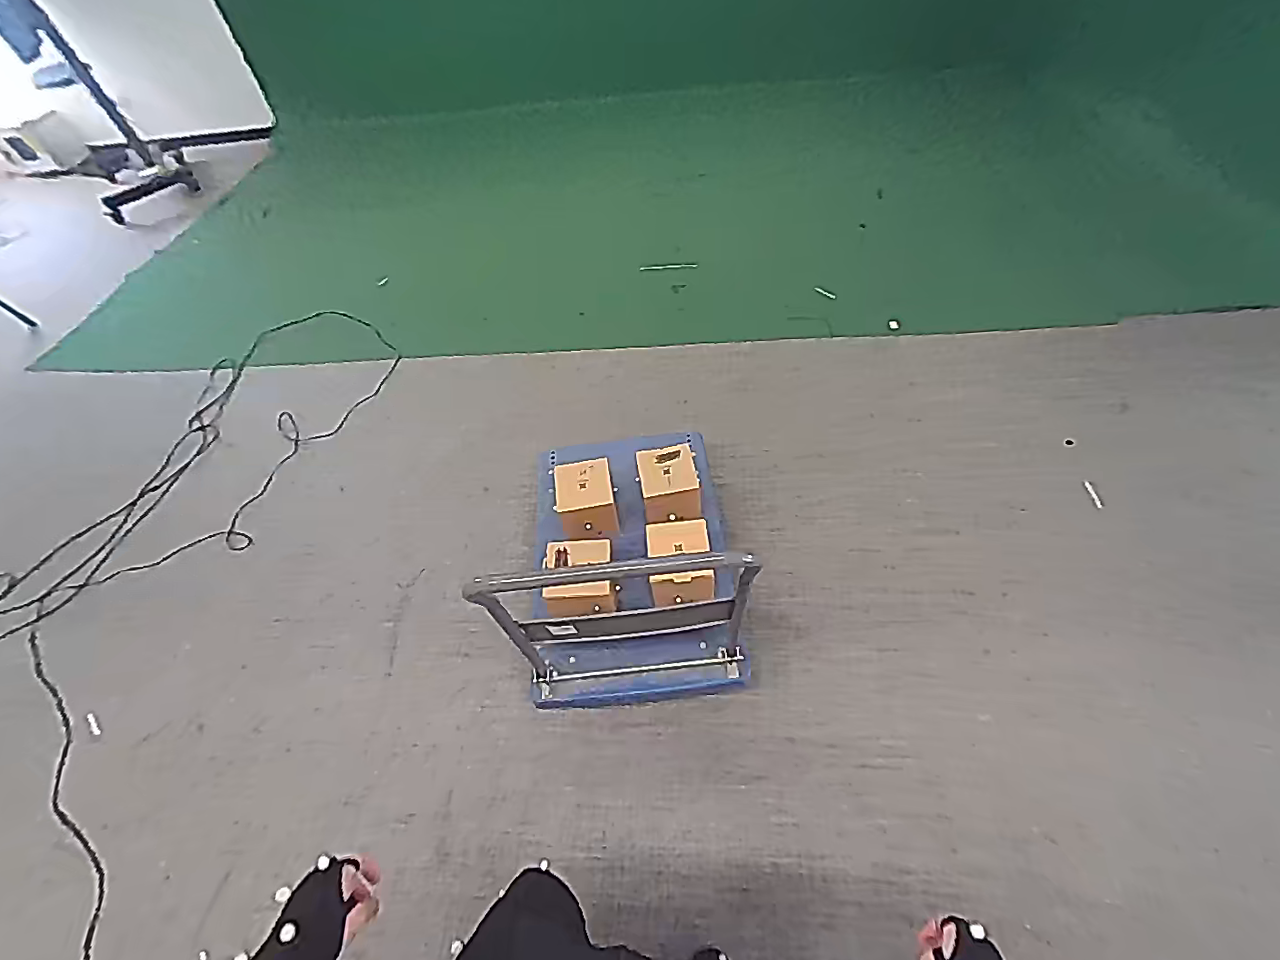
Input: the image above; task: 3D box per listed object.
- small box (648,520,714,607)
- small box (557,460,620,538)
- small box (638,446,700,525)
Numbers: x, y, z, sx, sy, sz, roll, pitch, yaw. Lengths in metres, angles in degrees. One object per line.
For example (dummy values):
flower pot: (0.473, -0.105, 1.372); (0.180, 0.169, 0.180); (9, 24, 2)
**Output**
small box: (0.113, 0.236, 1.515); (0.168, 0.176, 0.179); (-6, 53, 2)
small box: (-0.158, 0.066, 1.674); (0.168, 0.176, 0.179); (-9, 52, -1)
small box: (0.090, 0.021, 1.678); (0.168, 0.176, 0.179); (-10, 53, 0)
